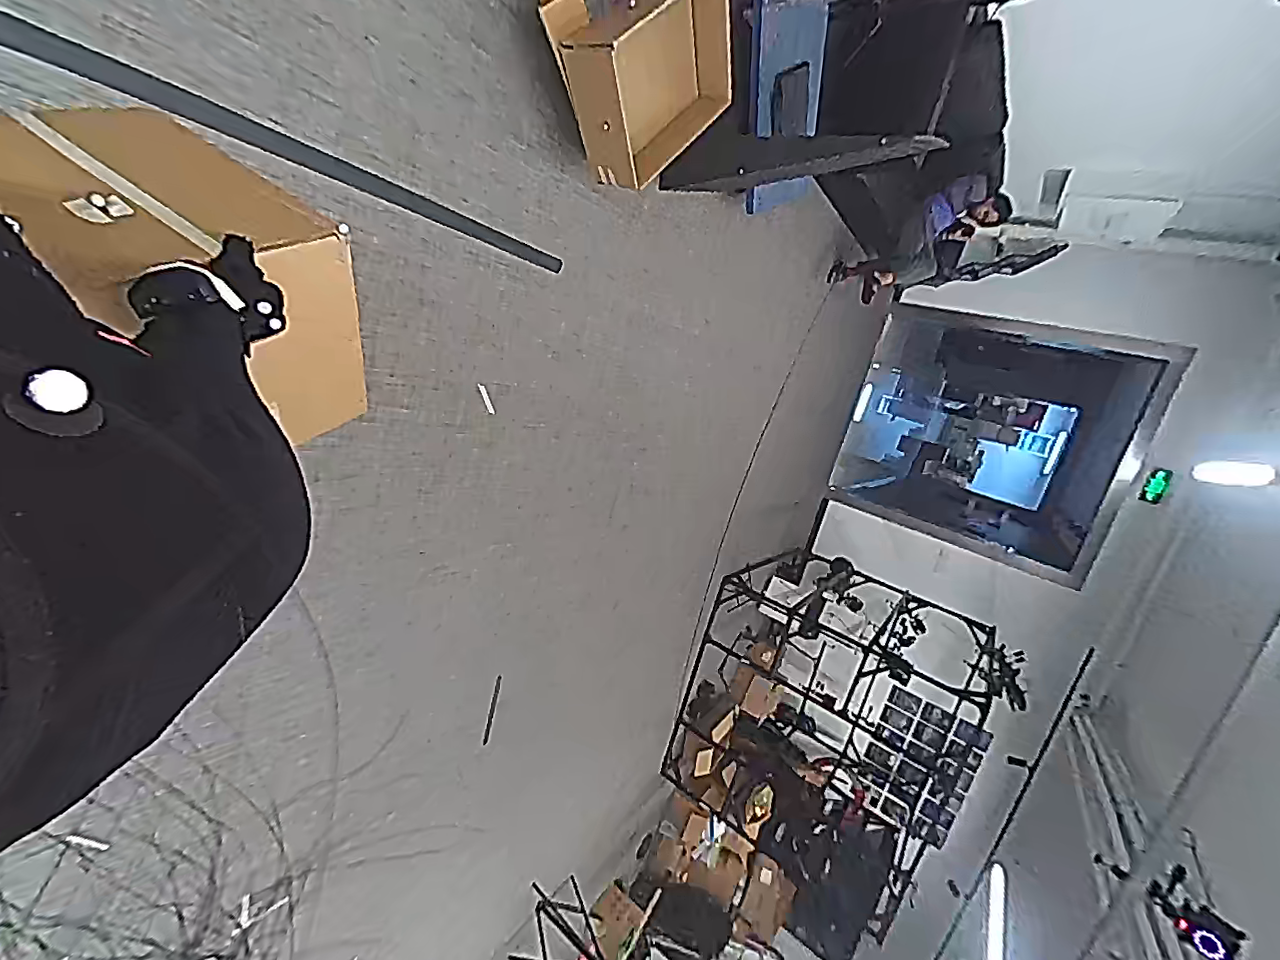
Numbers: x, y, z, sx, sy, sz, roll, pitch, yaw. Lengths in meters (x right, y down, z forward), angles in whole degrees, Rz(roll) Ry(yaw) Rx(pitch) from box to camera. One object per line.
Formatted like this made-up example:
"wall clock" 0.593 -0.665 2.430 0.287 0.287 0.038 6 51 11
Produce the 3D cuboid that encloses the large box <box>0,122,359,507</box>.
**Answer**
"large box" -0.670 -0.241 0.755 0.320 0.408 0.320 -44 165 -43
